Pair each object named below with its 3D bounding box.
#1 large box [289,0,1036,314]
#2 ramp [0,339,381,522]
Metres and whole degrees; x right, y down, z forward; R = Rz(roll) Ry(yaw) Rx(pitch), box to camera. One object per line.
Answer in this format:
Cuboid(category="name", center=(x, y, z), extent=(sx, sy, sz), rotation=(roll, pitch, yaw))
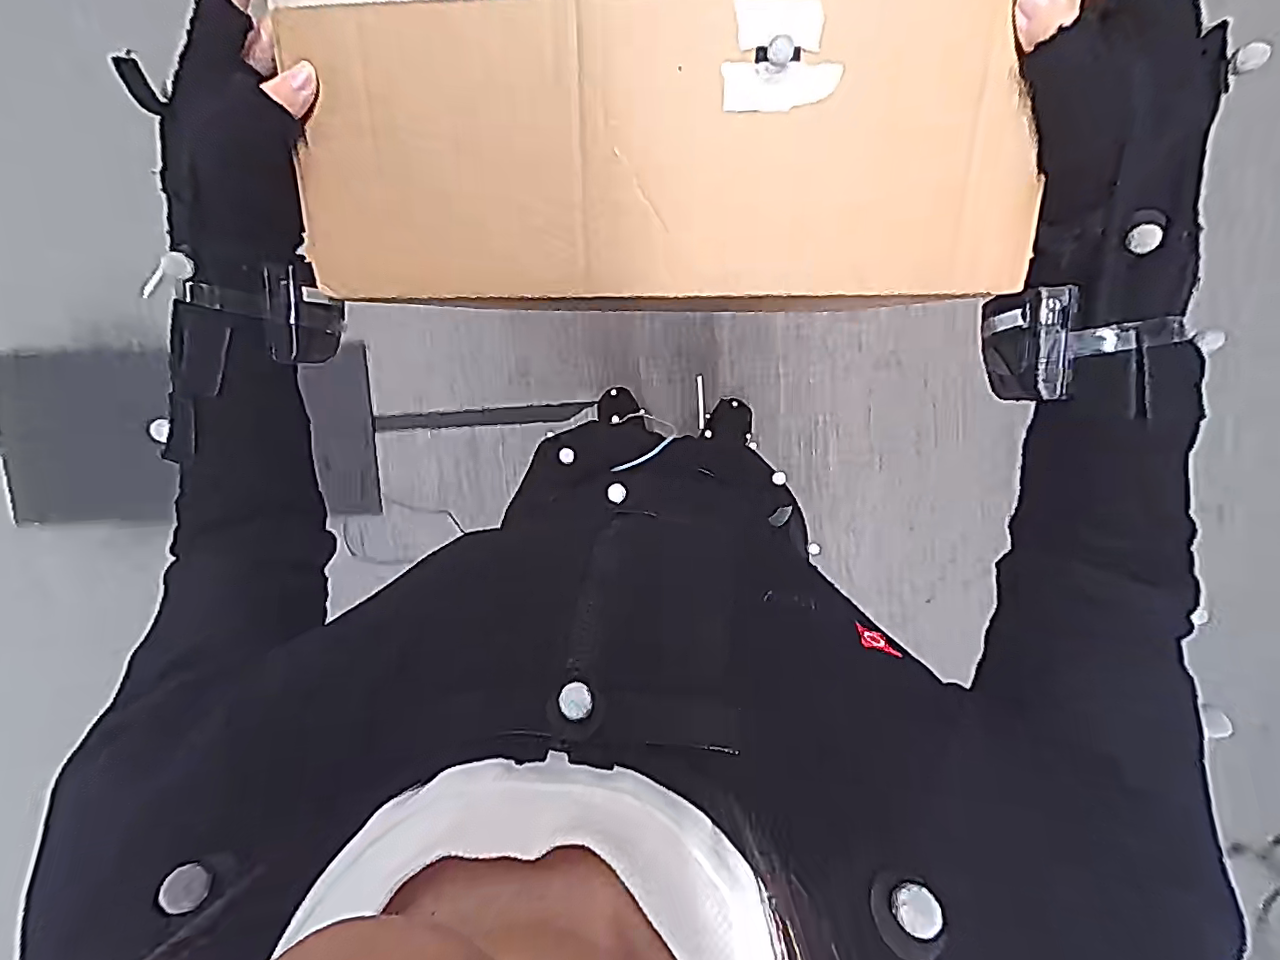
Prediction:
Cuboid(category="large box", center=(0.013, -0.304, 0.426), extent=(0.408, 0.320, 0.320), rotation=(0, 107, 5))
Cuboid(category="ramp", center=(-1.257, -0.138, 1.520), extent=(0.991, 0.206, 0.509), rotation=(-2, 98, 7))
